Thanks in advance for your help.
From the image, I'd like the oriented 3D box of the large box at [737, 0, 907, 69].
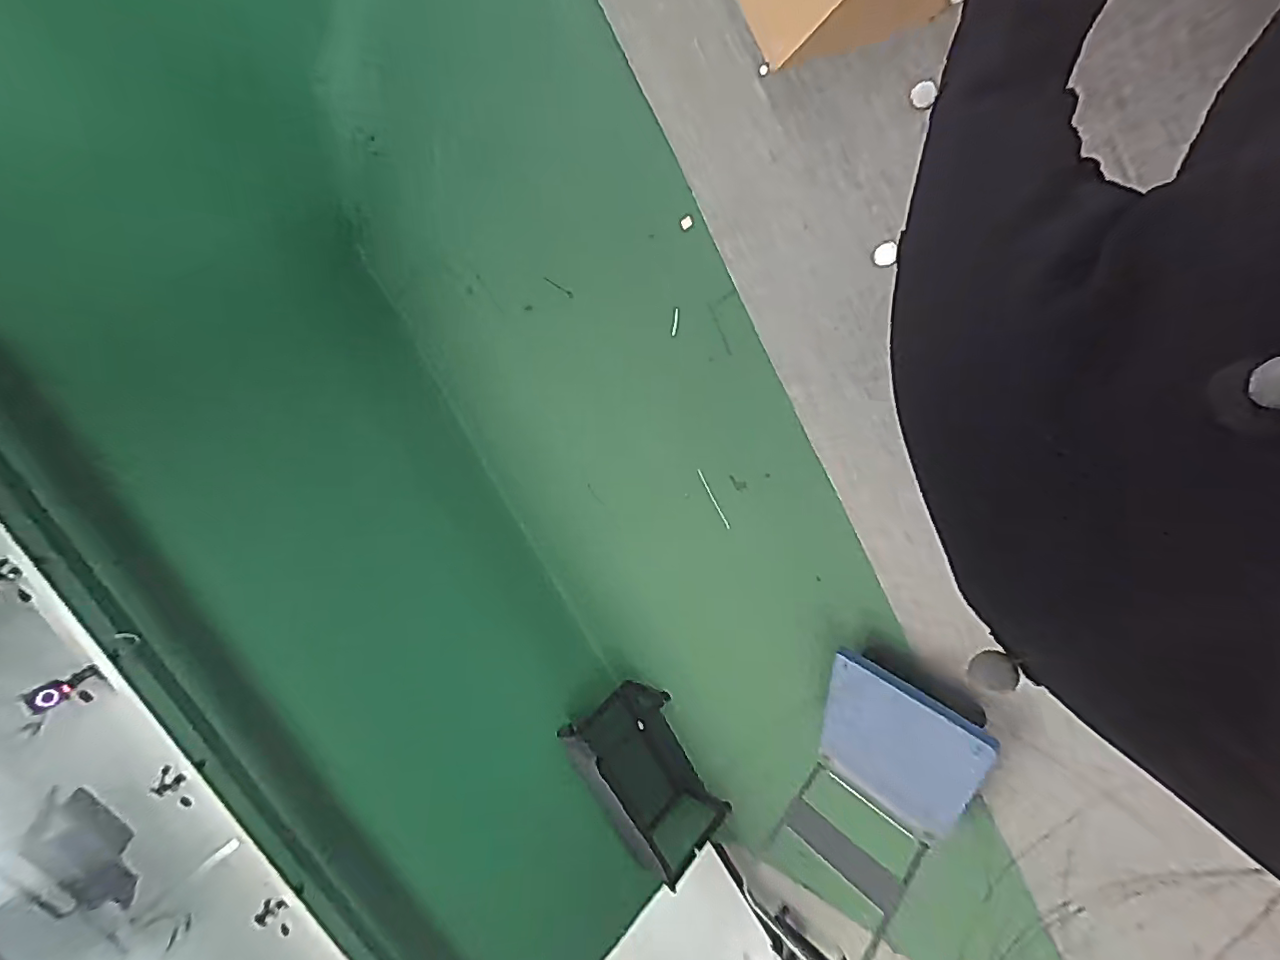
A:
[{"bbox_3d":[0.324,-0.854,0.692,0.320,0.320,0.408,59,150,-10],"label":"large box"}]
